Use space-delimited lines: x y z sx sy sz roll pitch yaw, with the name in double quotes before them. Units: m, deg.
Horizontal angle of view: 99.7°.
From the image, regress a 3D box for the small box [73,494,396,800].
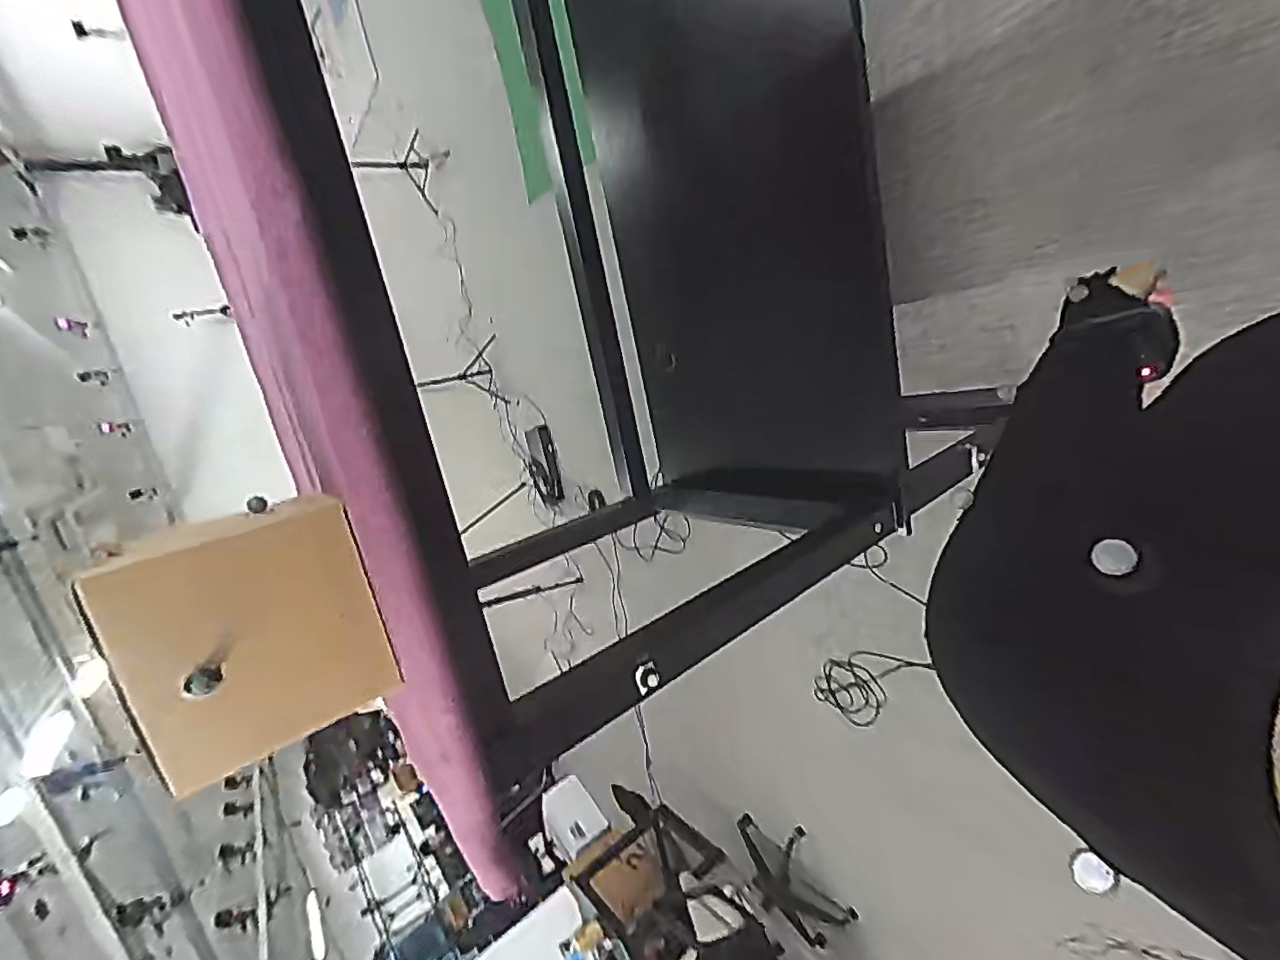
"small box" -0.338 0.124 0.482 0.168 0.176 0.179 3 109 53
